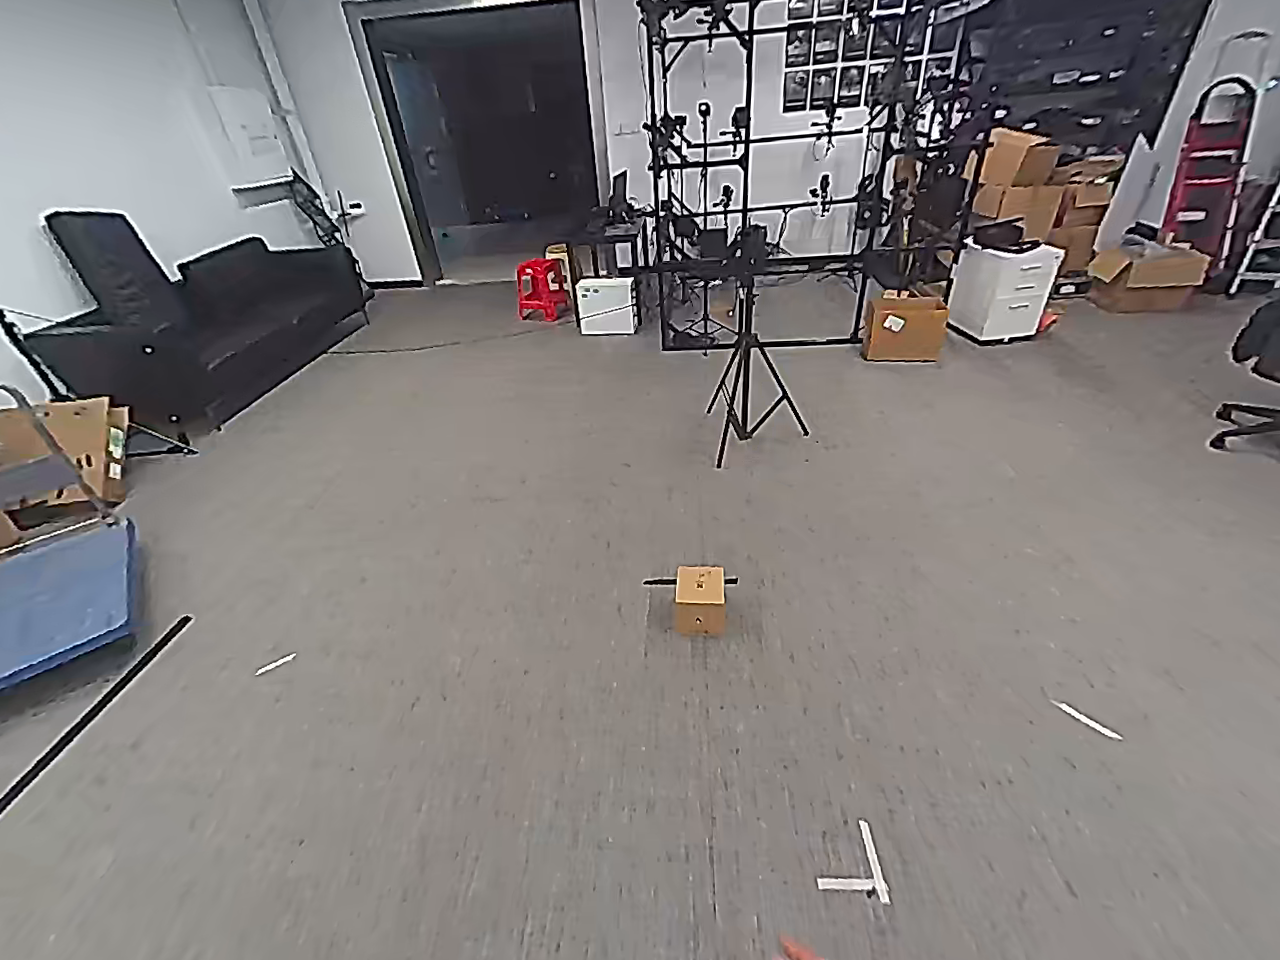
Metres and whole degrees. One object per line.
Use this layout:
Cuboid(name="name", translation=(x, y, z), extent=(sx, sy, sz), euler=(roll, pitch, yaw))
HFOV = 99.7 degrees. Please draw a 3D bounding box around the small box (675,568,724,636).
Cuboid(name="small box", translation=(0.215, 0.433, 1.917), extent=(0.168, 0.176, 0.179), euler=(0, 34, 8))
